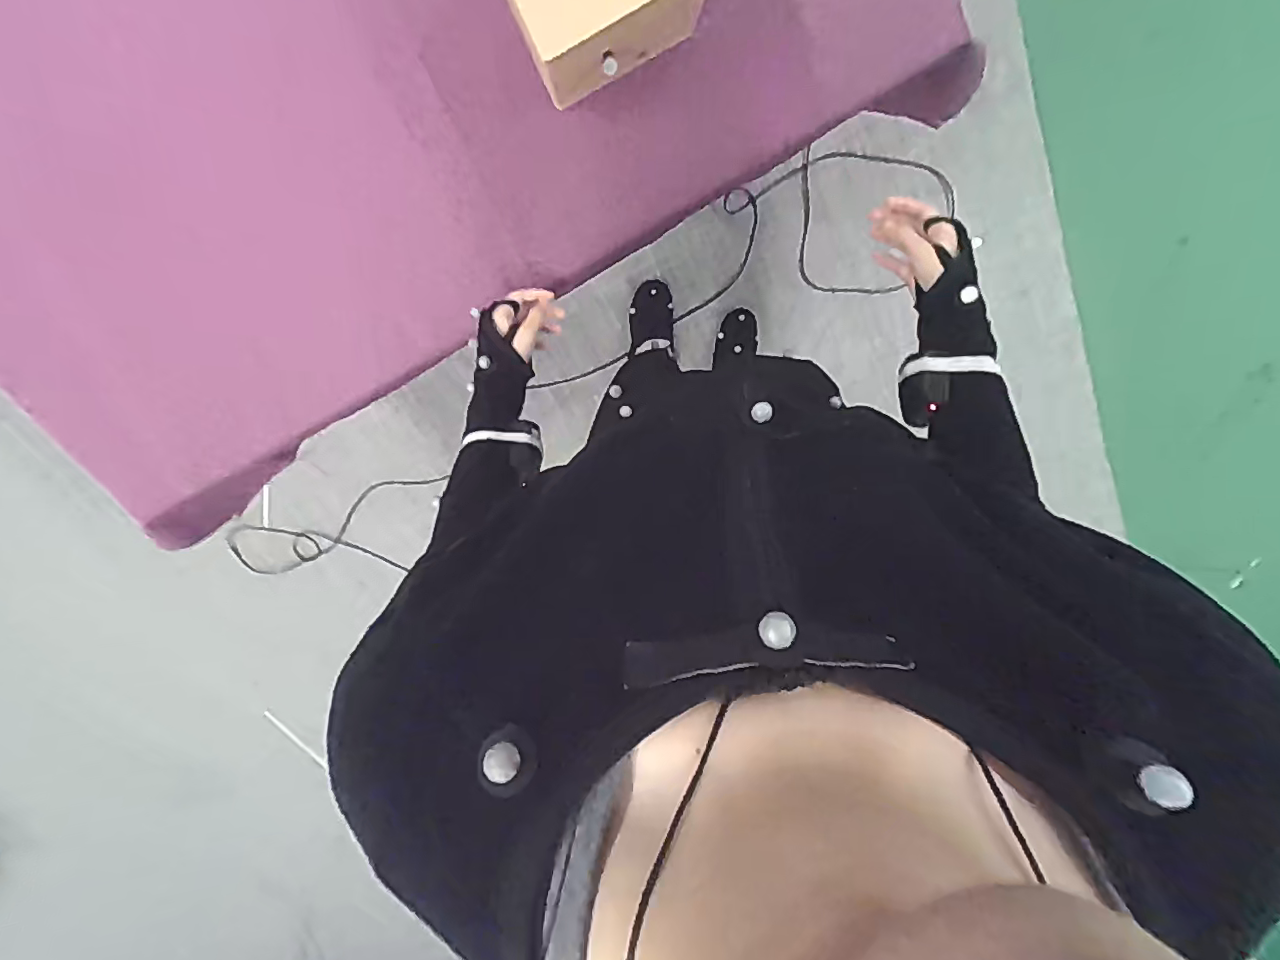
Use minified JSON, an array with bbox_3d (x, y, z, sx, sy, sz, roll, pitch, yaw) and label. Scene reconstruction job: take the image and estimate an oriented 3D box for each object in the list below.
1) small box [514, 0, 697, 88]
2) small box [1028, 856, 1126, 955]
[{"bbox_3d":[-0.047,-0.491,0.484,0.168,0.176,0.179,-26,110,8],"label":"small box"},{"bbox_3d":[1.401,1.370,1.748,0.179,0.176,0.168,-29,111,8],"label":"small box"}]
